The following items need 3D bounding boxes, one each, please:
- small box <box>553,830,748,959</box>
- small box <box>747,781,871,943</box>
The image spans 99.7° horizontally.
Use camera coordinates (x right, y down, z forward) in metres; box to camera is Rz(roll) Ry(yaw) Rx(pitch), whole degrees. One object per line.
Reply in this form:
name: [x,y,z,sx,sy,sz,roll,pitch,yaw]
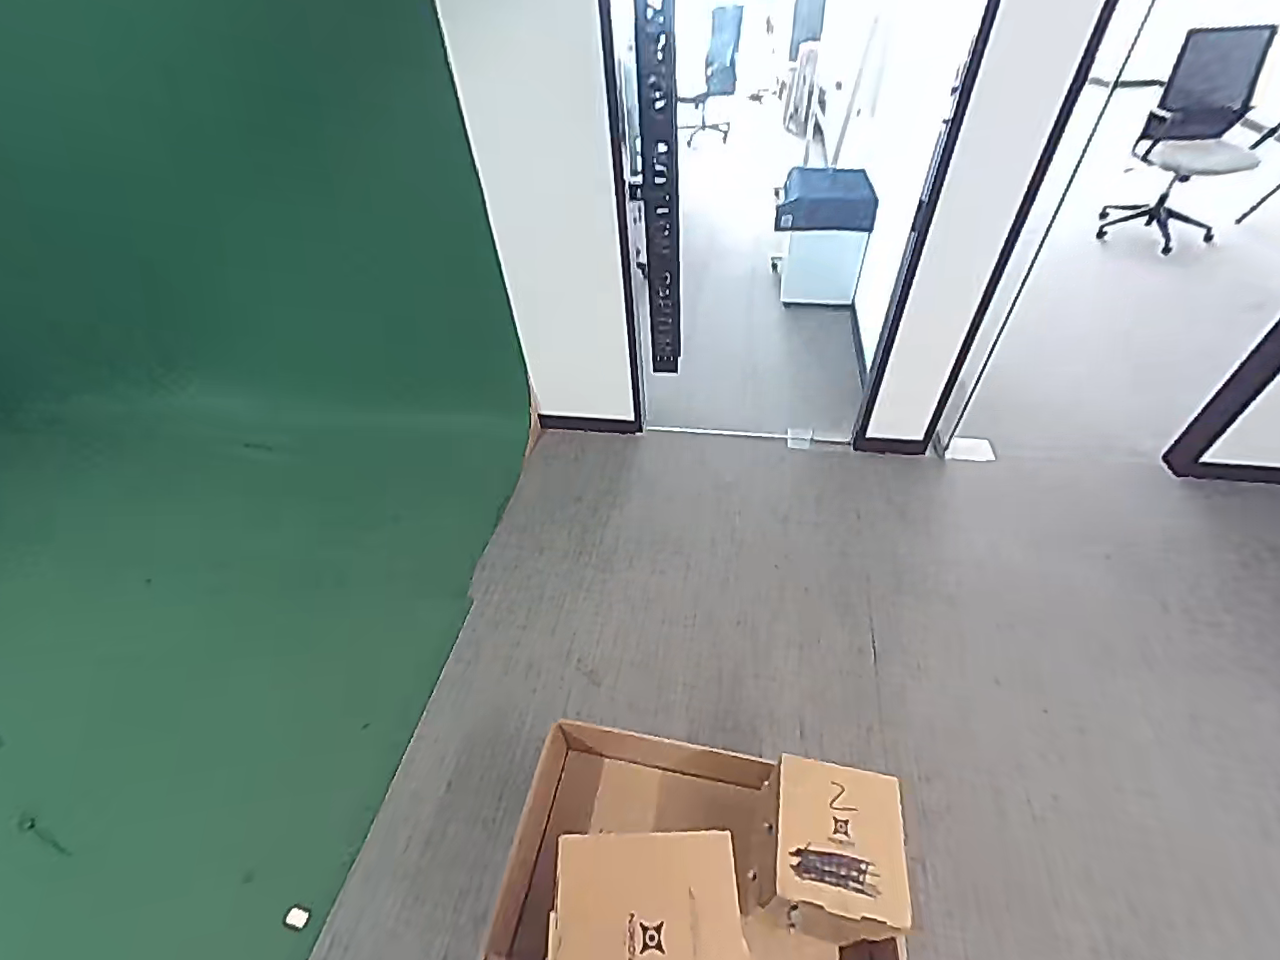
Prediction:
small box: [0.009,0.466,0.549,0.179,0.176,0.168,0,50,-2]
small box: [0.275,0.640,0.906,0.168,0.176,0.179,8,48,10]
